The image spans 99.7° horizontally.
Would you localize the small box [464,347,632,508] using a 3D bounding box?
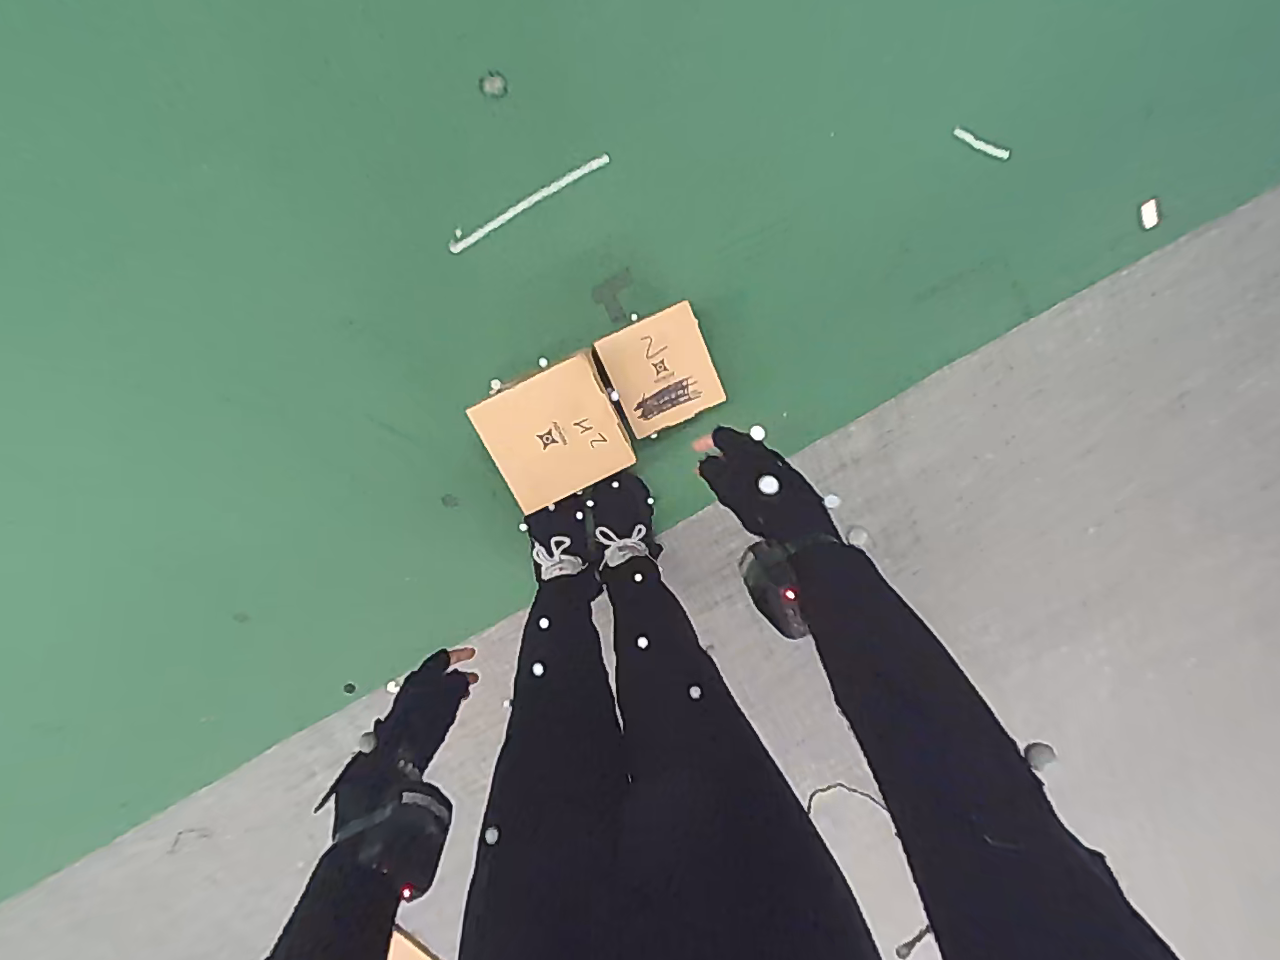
[{"bbox_3d":[-0.126,-0.085,0.798,0.179,0.176,0.168,-26,107,2],"label":"small box"}]
